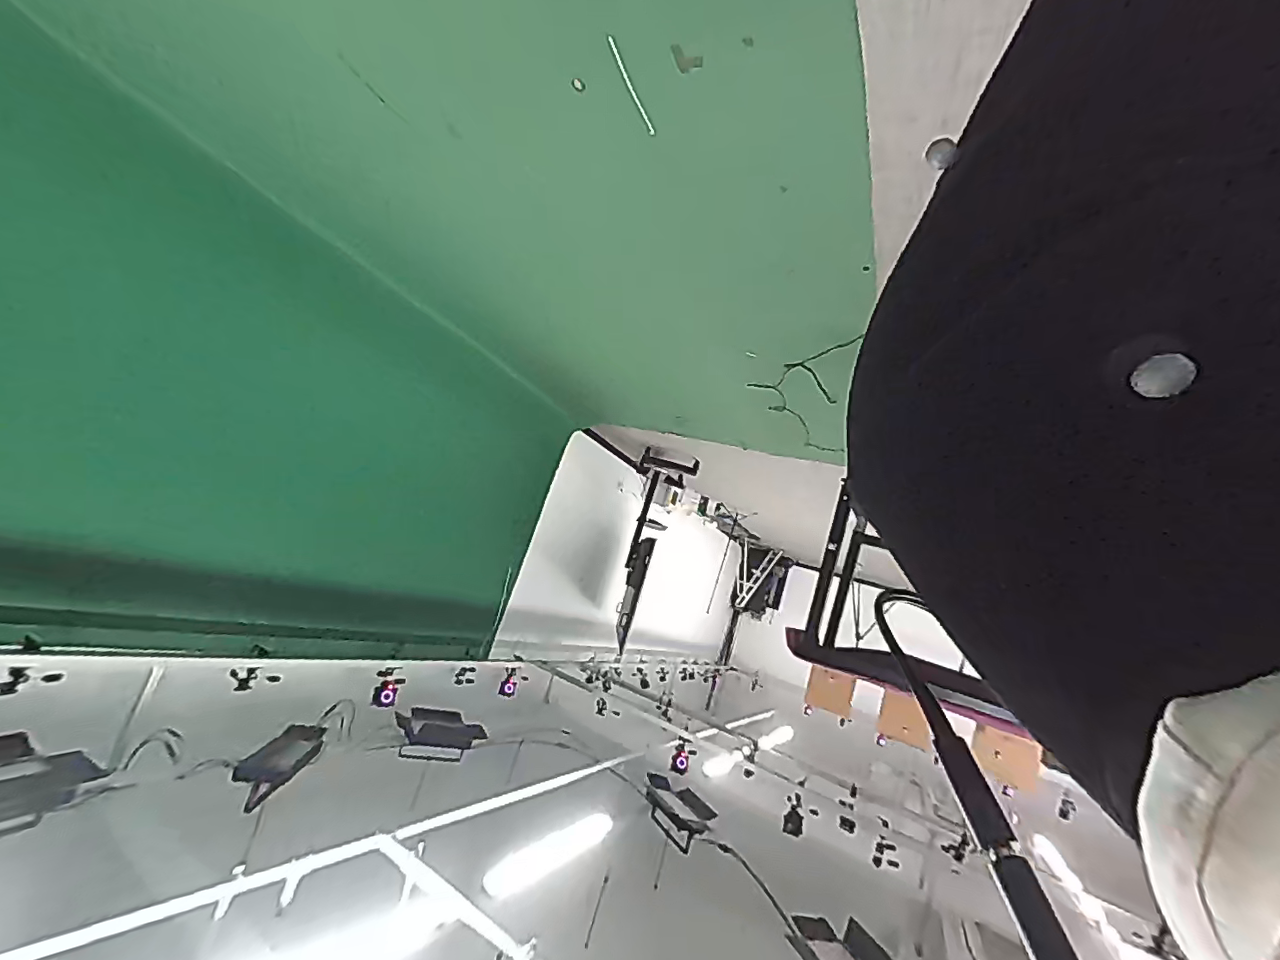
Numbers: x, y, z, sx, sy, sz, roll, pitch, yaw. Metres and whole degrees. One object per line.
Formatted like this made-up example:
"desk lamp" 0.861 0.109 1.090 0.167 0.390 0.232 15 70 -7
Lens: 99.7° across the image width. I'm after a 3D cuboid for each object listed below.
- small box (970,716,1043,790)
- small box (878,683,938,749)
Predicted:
"small box" 1.279 0.943 1.886 0.168 0.176 0.179 15 171 24
"small box" 1.015 0.883 2.042 0.179 0.176 0.168 13 170 31
